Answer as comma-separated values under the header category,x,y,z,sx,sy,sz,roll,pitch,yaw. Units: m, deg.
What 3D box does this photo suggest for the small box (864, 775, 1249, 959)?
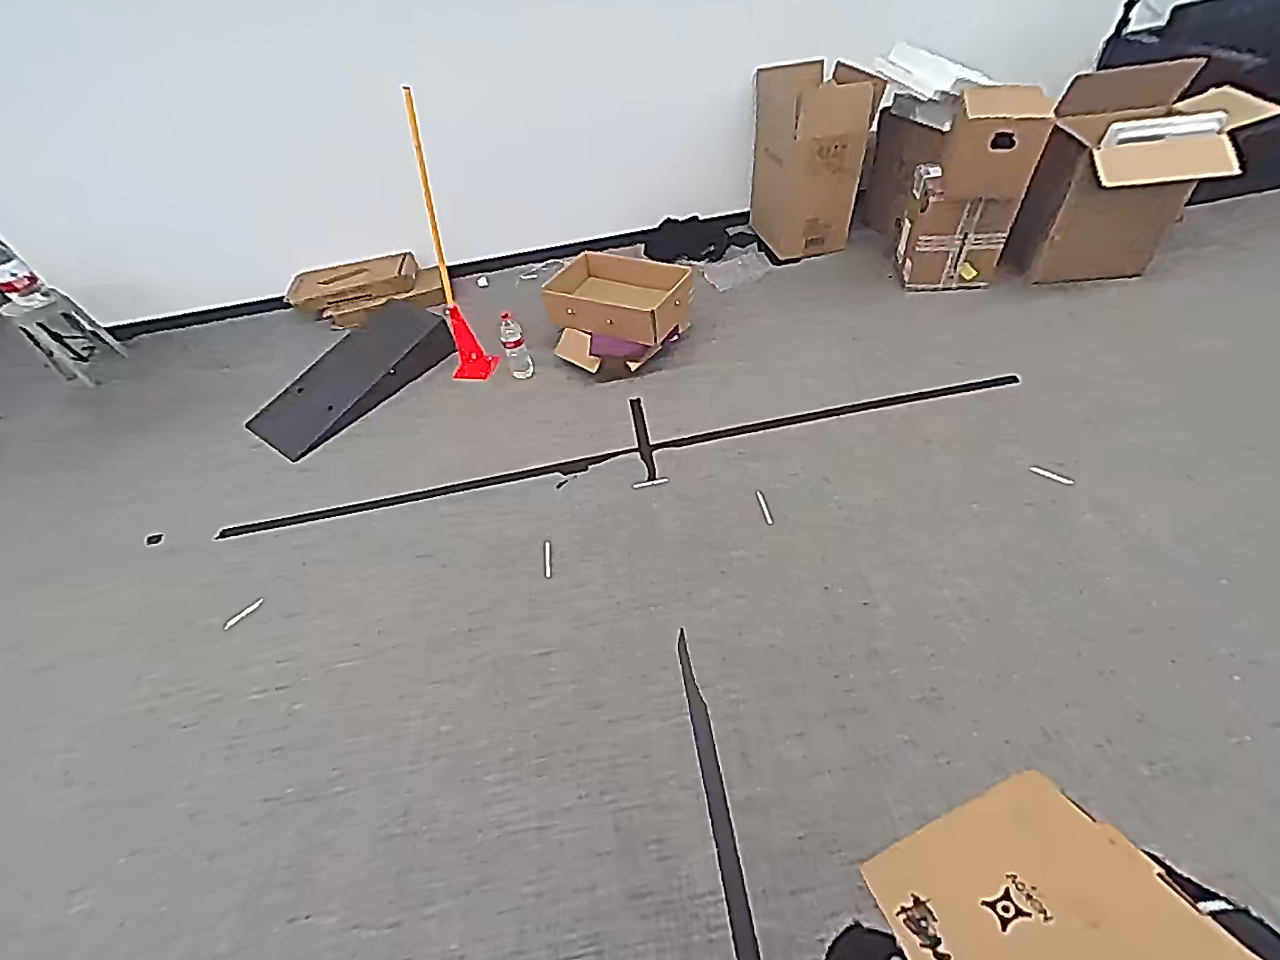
category,x,y,z,sx,sy,sz,roll,pitch,yaw
small box,0.312,0.377,0.404,0.179,0.176,0.168,-29,9,1
